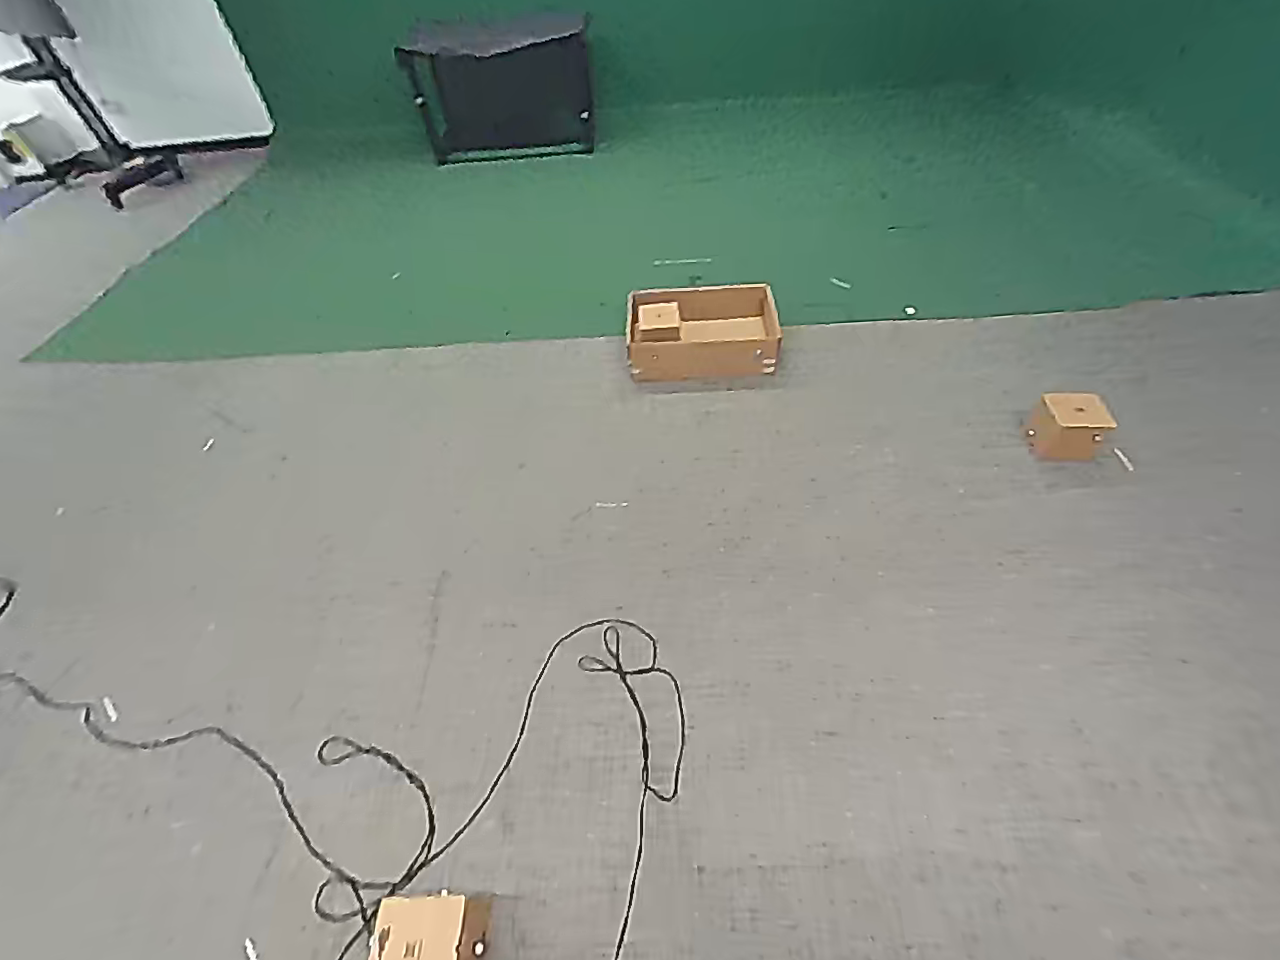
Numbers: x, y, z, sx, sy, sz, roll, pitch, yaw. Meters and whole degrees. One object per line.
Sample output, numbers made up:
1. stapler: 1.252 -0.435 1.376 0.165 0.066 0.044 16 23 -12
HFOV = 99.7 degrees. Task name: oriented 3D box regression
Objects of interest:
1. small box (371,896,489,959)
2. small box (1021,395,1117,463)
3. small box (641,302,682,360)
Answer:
1. small box: -0.414 0.938 1.078 0.179 0.176 0.168 -3 49 1
2. small box: 1.457 -0.173 1.851 0.179 0.176 0.168 2 50 7
3. small box: 0.089 -0.629 2.289 0.168 0.176 0.179 -4 51 2
